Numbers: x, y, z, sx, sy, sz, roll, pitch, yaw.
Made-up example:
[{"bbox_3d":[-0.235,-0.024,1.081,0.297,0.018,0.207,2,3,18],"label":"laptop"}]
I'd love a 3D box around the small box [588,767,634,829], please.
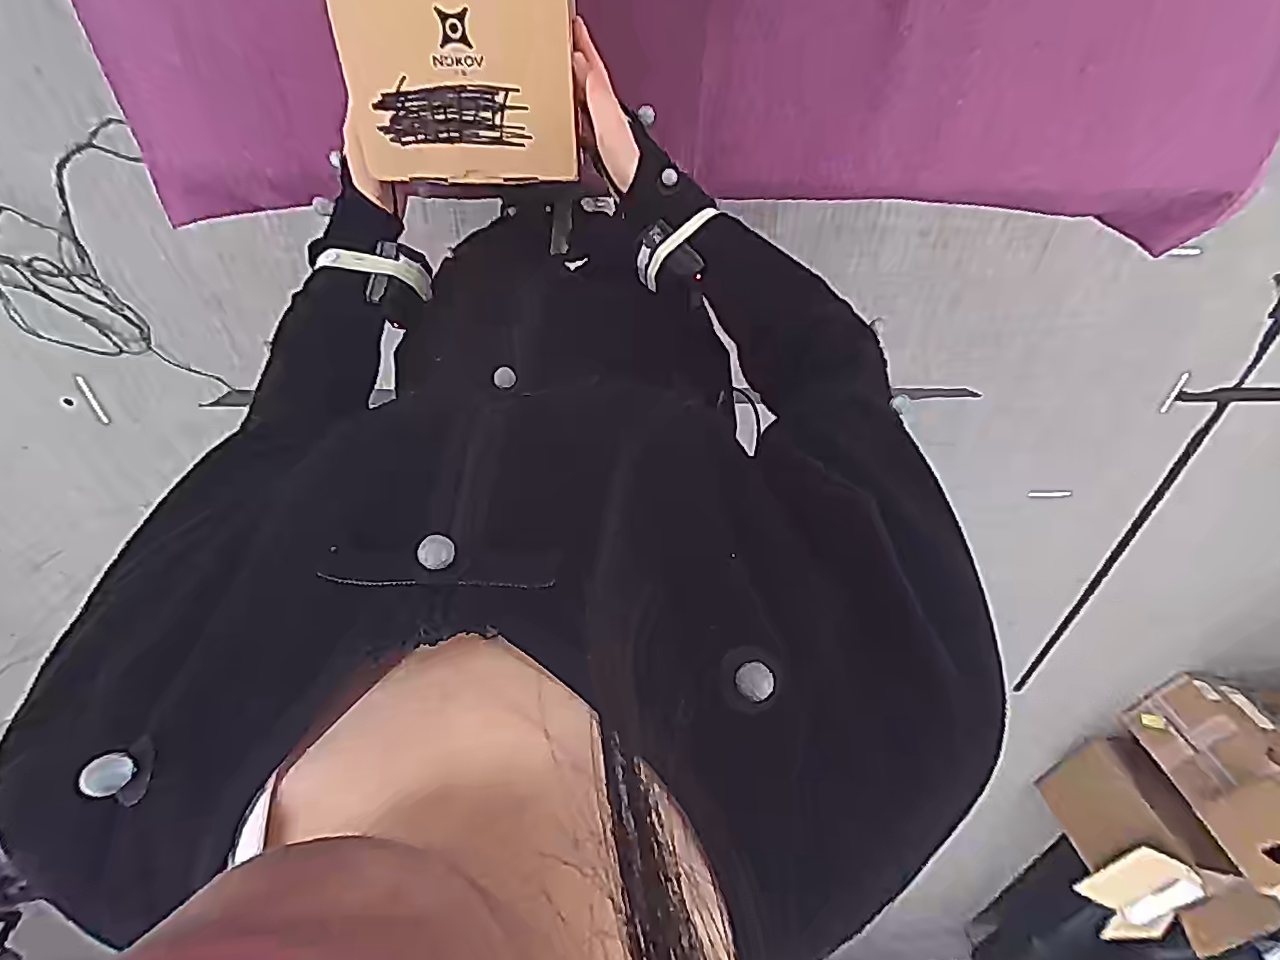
[{"bbox_3d":[-0.115,1.260,2.138,0.179,0.176,0.168,-2,124,-3],"label":"small box"}]

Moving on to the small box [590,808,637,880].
[{"bbox_3d":[-0.099,1.346,2.001,0.168,0.176,0.179,-2,124,-4],"label":"small box"}]
